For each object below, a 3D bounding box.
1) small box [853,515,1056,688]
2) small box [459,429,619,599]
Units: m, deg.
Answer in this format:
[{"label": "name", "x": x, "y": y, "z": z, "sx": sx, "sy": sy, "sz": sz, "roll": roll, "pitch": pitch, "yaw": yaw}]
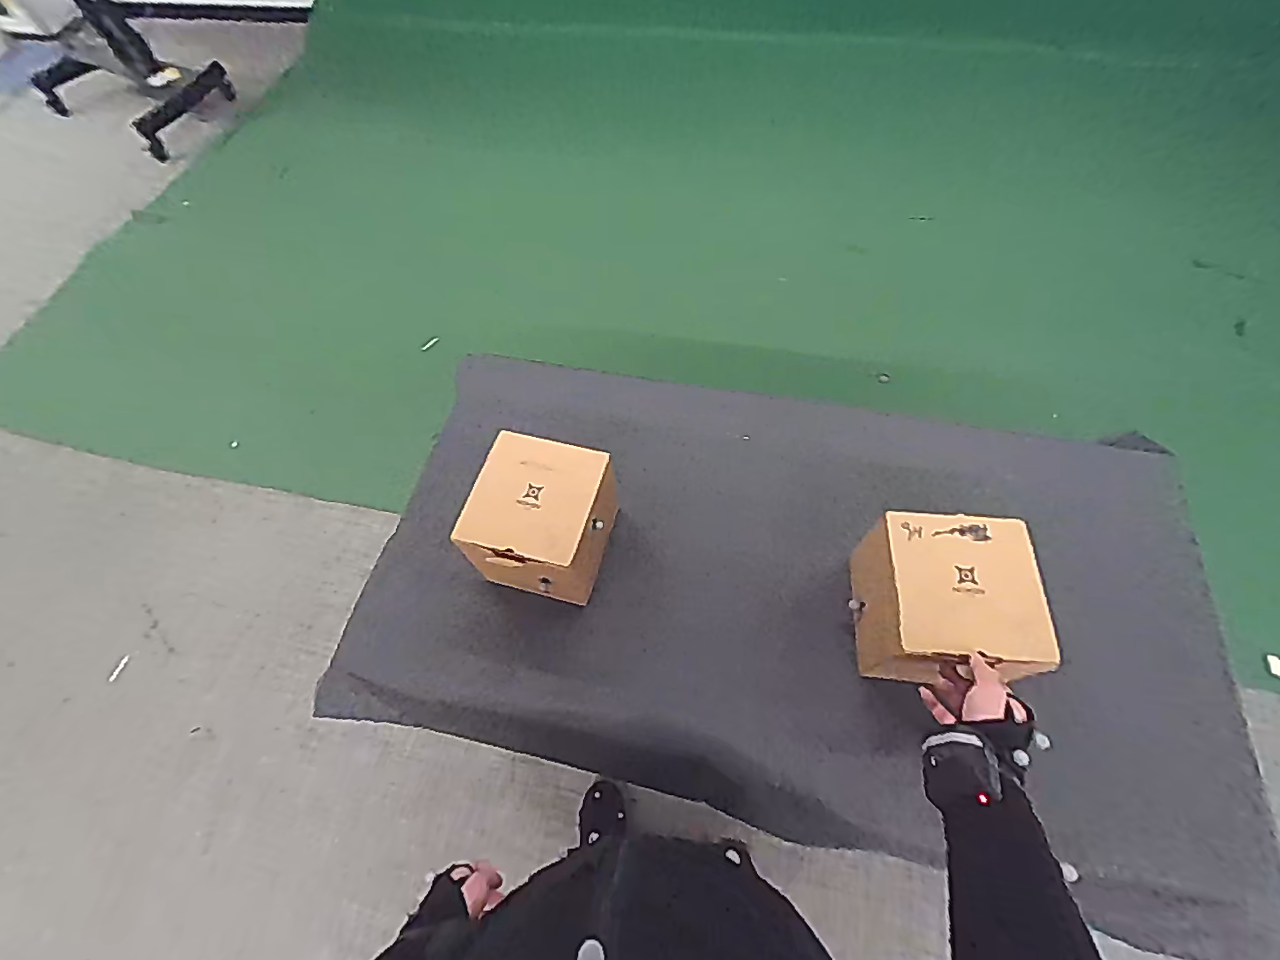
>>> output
[{"label": "small box", "x": 0.387, "y": 0.164, "z": 0.702, "sx": 0.168, "sy": 0.176, "sz": 0.179, "roll": 5, "pitch": 62, "yaw": 6}, {"label": "small box", "x": -0.132, "y": 0.056, "z": 0.794, "sx": 0.168, "sy": 0.176, "sz": 0.179, "roll": 14, "pitch": 61, "yaw": 9}]
